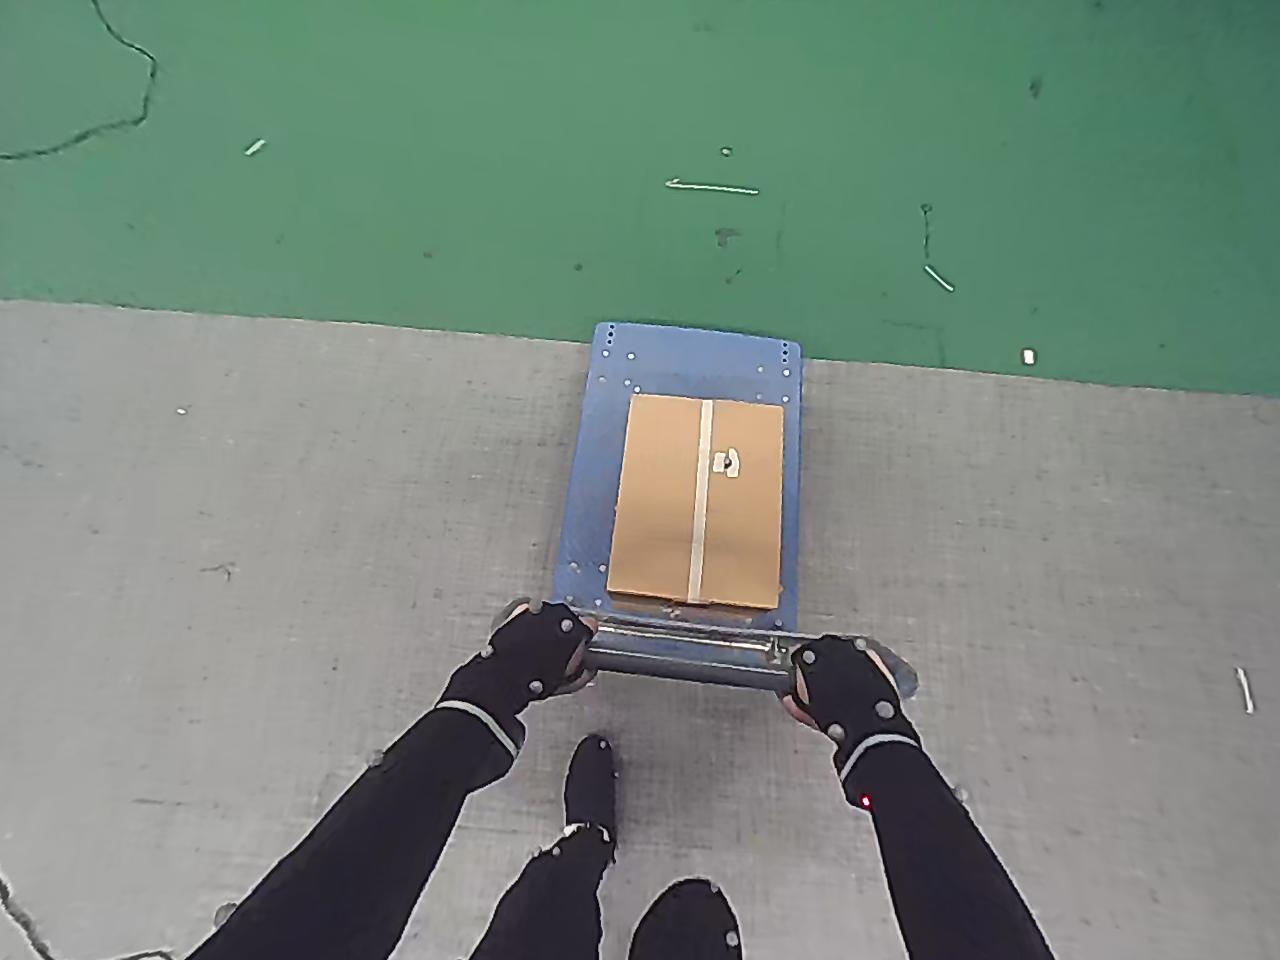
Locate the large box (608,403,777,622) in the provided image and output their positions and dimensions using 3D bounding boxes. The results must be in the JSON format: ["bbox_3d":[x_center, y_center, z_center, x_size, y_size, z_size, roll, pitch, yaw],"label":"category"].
[{"bbox_3d":[0.113,0.088,1.191,0.320,0.320,0.408,6,71,2],"label":"large box"}]
